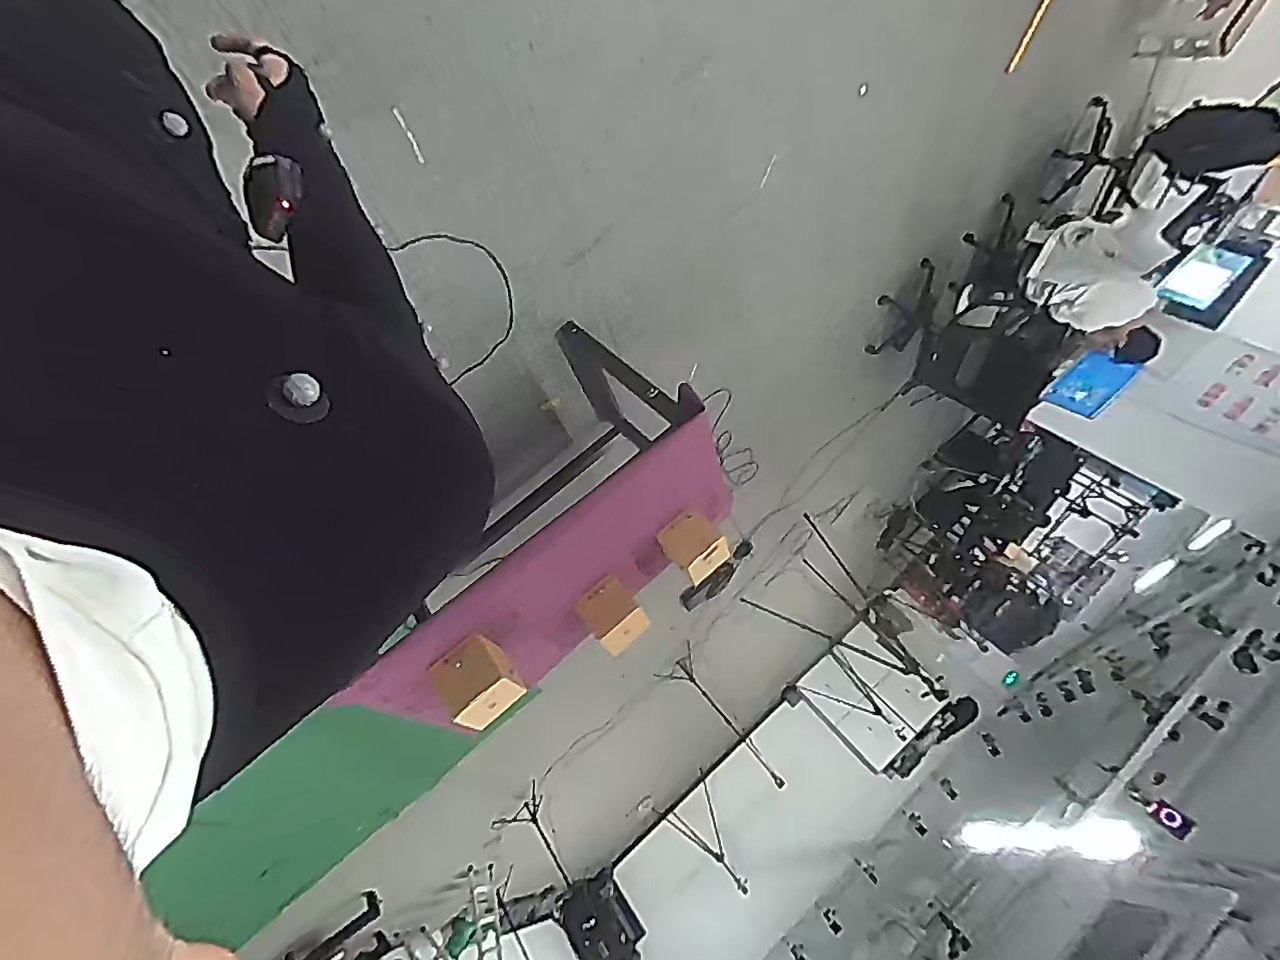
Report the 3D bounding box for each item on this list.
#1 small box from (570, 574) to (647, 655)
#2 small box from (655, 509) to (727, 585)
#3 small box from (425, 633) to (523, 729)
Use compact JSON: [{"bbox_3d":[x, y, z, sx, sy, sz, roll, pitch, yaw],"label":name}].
[{"bbox_3d":[-0.103,0.441,1.787,0.168,0.176,0.179,-39,145,-12],"label":"small box"},{"bbox_3d":[0.174,0.223,1.854,0.168,0.176,0.179,-39,146,-10],"label":"small box"},{"bbox_3d":[-0.462,0.557,1.507,0.168,0.176,0.179,-39,147,-13],"label":"small box"}]
